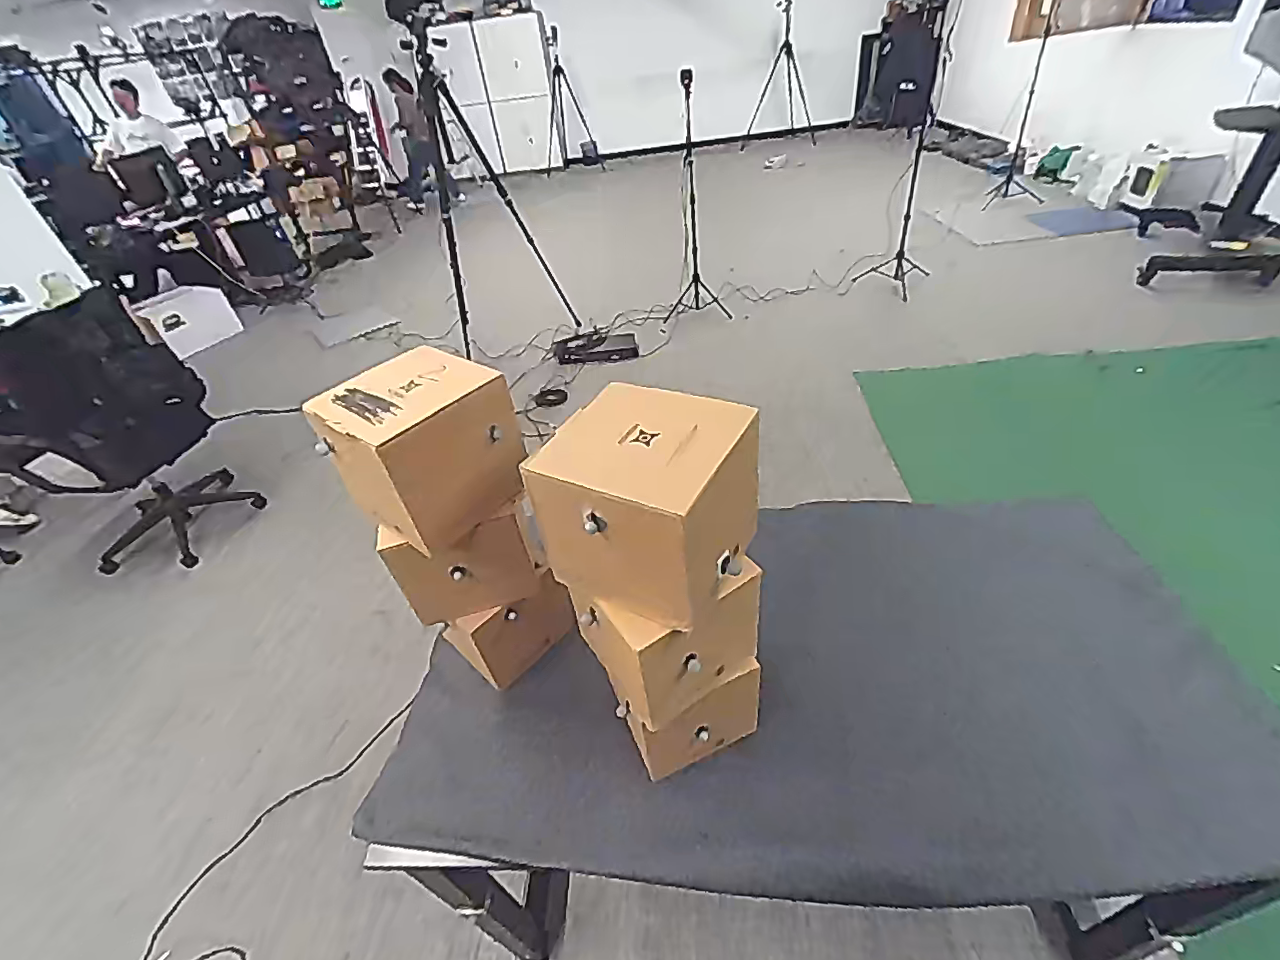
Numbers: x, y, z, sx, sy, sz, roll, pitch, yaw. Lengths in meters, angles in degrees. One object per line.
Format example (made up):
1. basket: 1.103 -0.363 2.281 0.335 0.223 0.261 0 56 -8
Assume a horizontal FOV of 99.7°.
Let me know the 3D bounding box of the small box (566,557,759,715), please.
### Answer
1. small box: 0.027 0.154 0.657 0.168 0.176 0.179 -28 42 -21

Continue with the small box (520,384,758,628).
1. small box: 0.010 0.023 0.562 0.179 0.176 0.168 16 46 27

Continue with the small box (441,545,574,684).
1. small box: -0.236 0.204 0.904 0.179 0.176 0.168 27 51 35

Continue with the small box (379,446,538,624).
1. small box: -0.256 0.081 0.796 0.179 0.176 0.168 -16 41 -8

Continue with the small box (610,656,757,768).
1. small box: 0.052 0.274 0.764 0.168 0.176 0.179 -19 40 -14
